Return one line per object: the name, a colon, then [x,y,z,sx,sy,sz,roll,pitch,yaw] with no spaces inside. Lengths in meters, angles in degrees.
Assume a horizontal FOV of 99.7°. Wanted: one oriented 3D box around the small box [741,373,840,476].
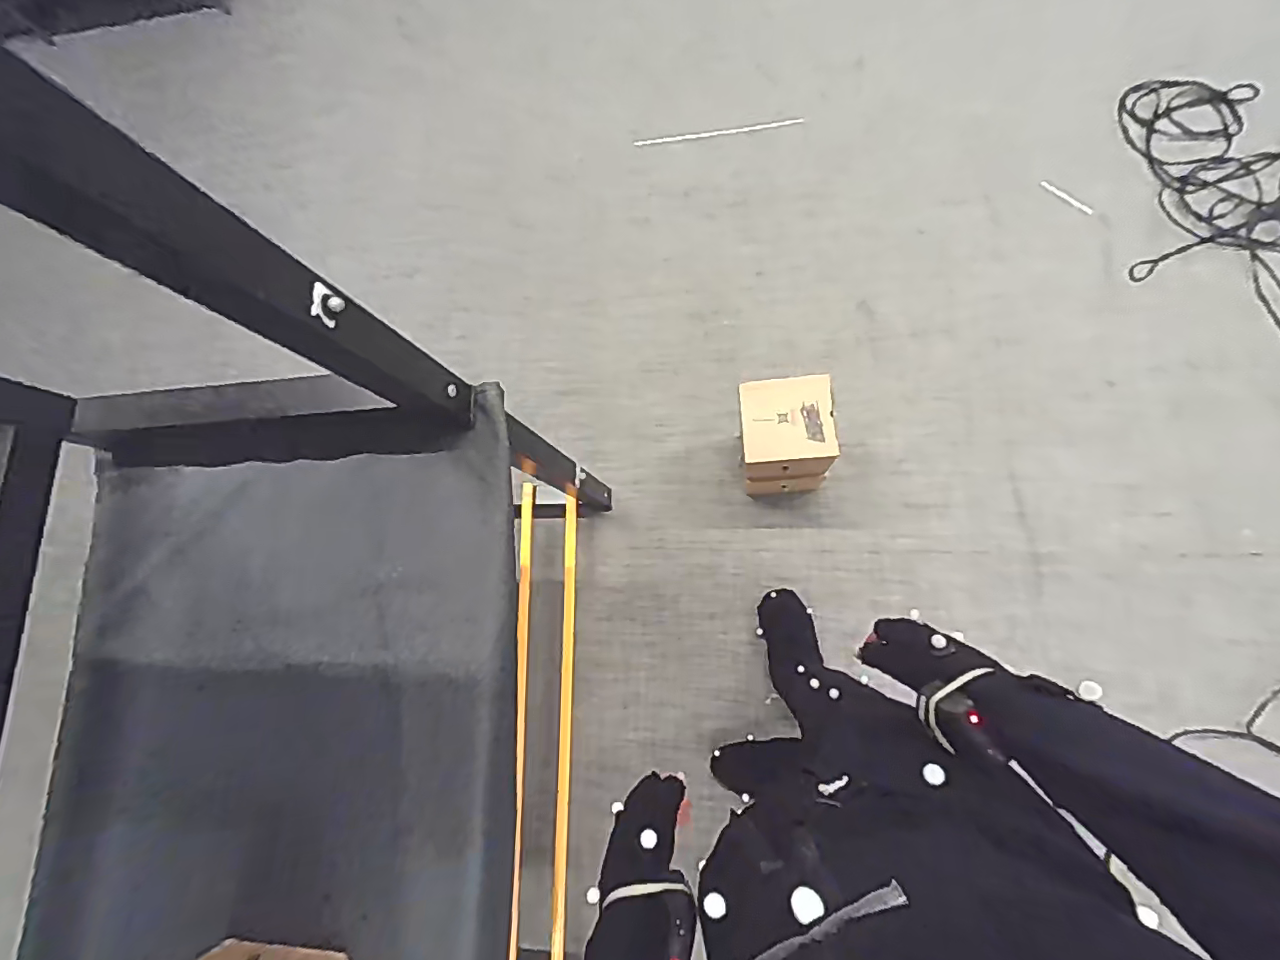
small box: [0.300,-0.106,1.110,0.179,0.176,0.168,-4,79,11]
